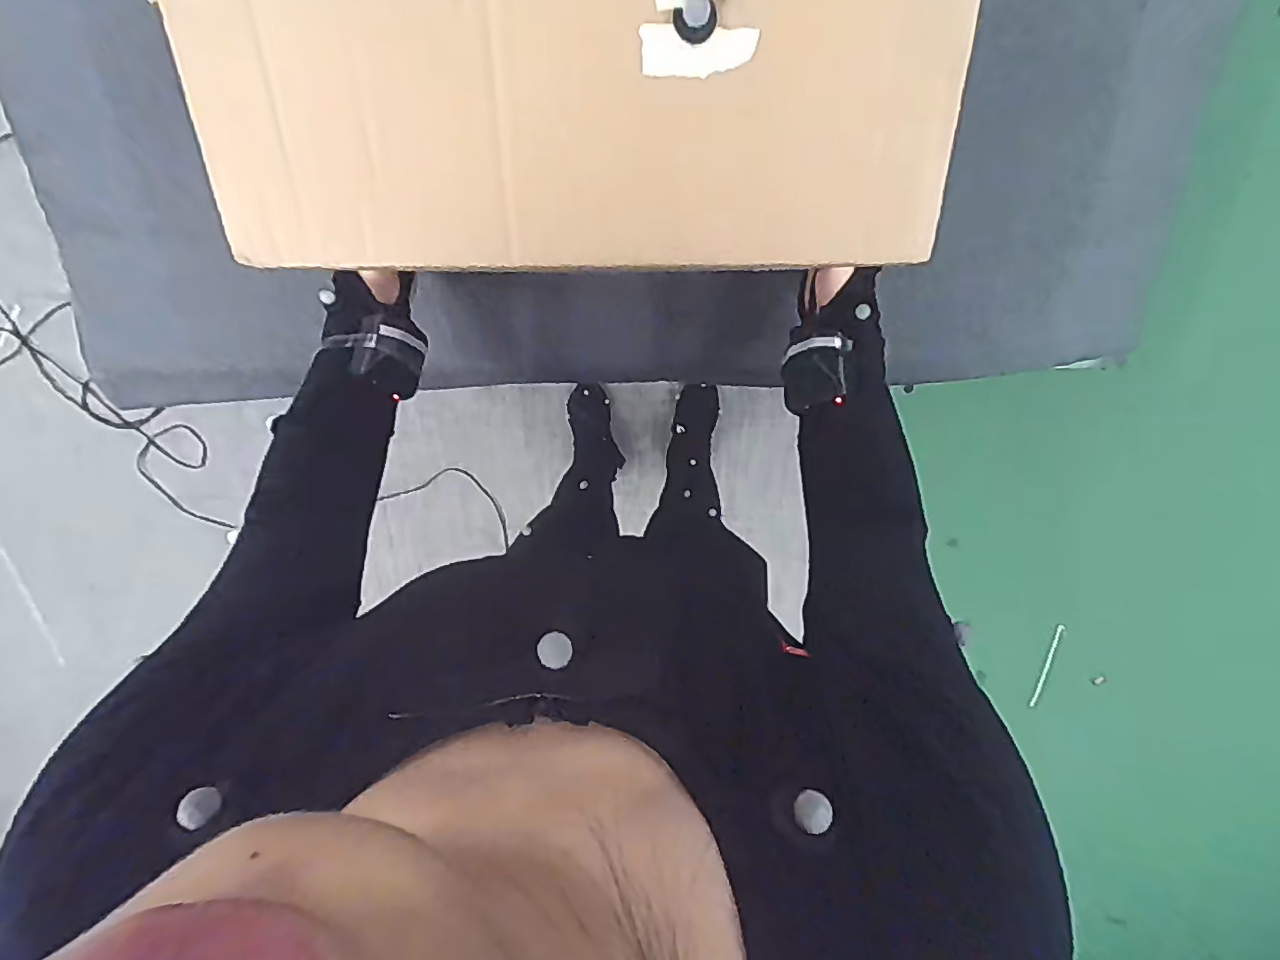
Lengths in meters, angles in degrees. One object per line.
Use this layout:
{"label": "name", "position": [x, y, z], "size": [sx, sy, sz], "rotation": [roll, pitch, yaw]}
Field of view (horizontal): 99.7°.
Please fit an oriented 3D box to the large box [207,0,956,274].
{"label": "large box", "position": [-0.031, -0.331, 0.416], "size": [0.408, 0.320, 0.320], "rotation": [0, 111, 1]}
